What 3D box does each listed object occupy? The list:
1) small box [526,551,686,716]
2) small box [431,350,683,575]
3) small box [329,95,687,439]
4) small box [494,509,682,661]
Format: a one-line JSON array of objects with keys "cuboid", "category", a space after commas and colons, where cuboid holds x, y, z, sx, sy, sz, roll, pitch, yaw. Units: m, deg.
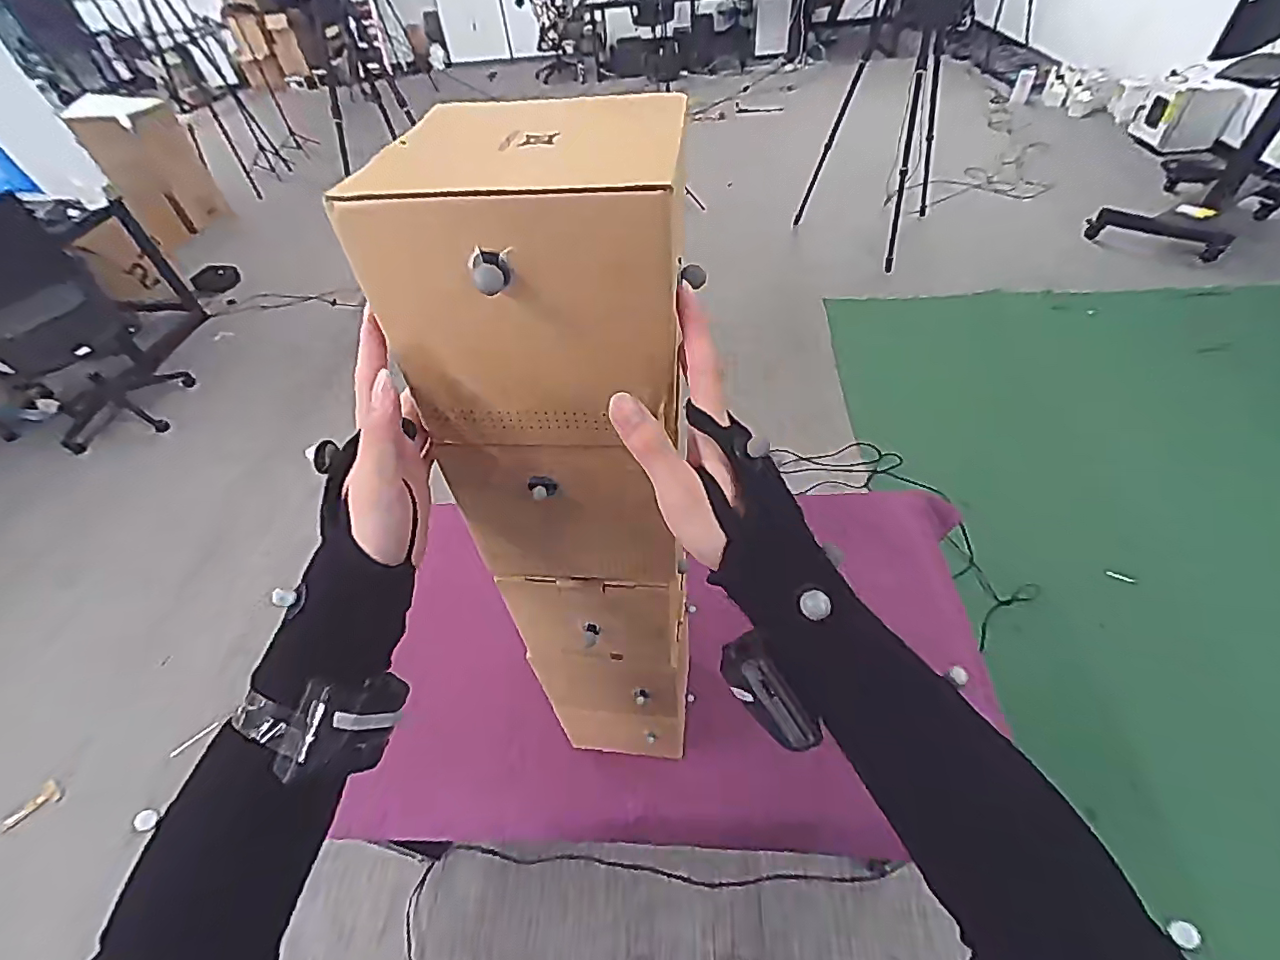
[{"cuboid": [-0.031, 0.201, 0.724, 0.179, 0.176, 0.168, 2, 47, 8], "category": "small box"}, {"cuboid": [-0.053, -0.028, 0.491, 0.179, 0.176, 0.168, 2, 47, 6], "category": "small box"}, {"cuboid": [-0.058, -0.141, 0.374, 0.179, 0.176, 0.168, 1, 47, 7], "category": "small box"}, {"cuboid": [-0.042, 0.085, 0.609, 0.168, 0.176, 0.179, 3, 48, 8], "category": "small box"}]
